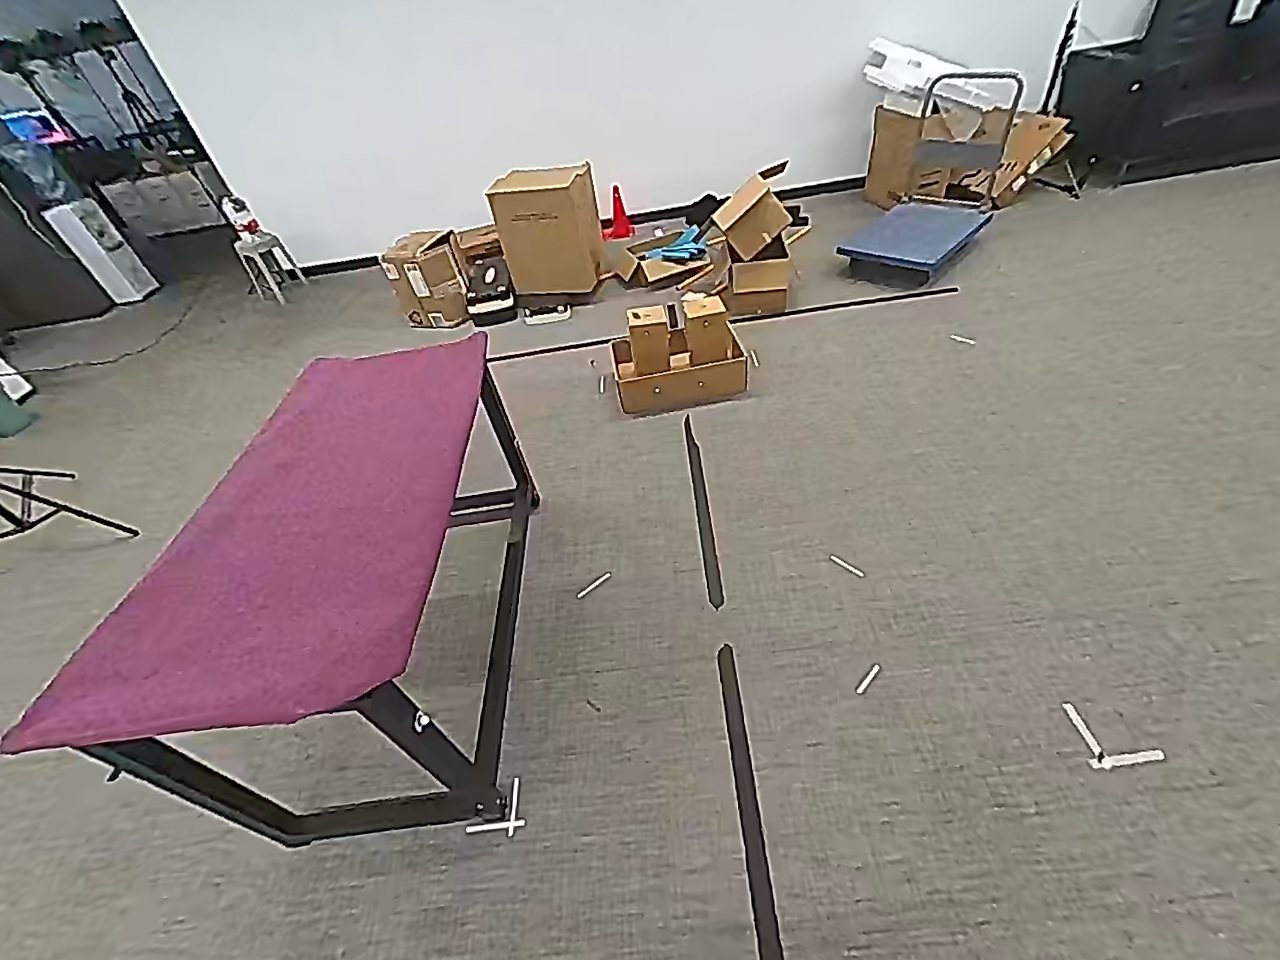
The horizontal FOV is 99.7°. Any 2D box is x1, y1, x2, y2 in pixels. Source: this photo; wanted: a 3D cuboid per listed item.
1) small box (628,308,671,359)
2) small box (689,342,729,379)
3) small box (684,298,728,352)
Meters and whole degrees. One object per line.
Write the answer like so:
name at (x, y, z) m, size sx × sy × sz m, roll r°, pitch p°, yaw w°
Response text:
small box at (0.046, -0.686, 2.542) m, size 0.179 × 0.176 × 0.168 m, roll -8°, pitch 43°, yaw 0°
small box at (0.337, -0.609, 2.643) m, size 0.168 × 0.176 × 0.179 m, roll -10°, pitch 41°, yaw 1°
small box at (0.311, -0.725, 2.532) m, size 0.179 × 0.176 × 0.168 m, roll -11°, pitch 43°, yaw 2°
